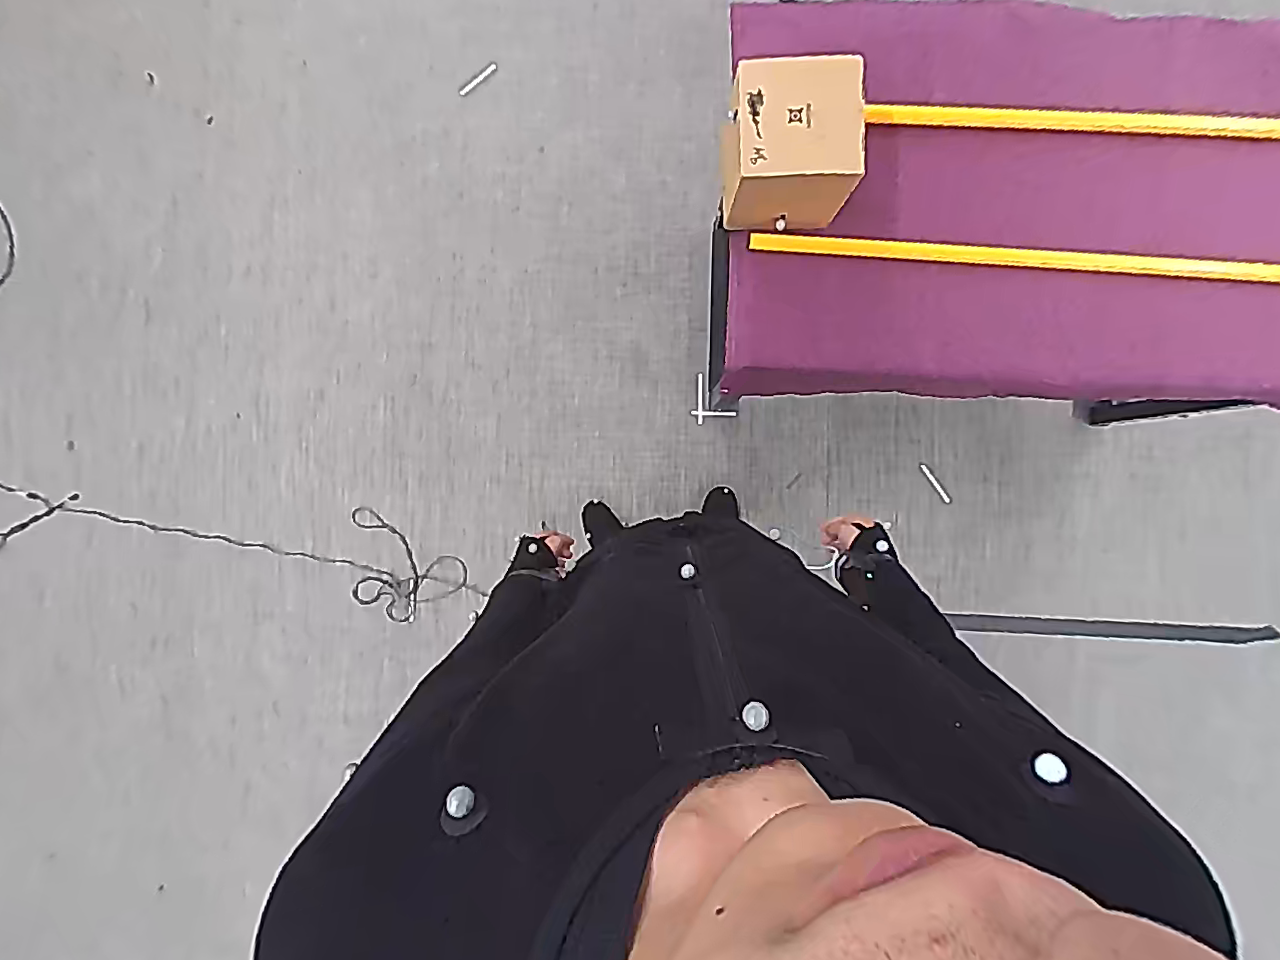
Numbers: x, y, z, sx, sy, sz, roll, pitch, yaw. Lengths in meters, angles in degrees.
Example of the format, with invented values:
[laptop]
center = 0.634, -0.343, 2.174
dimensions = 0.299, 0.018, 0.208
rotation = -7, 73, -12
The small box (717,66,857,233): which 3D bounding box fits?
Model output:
[small box]
center = 0.221, -0.506, 0.849
dimensions = 0.179, 0.176, 0.168
rotation = 0, 91, 0
